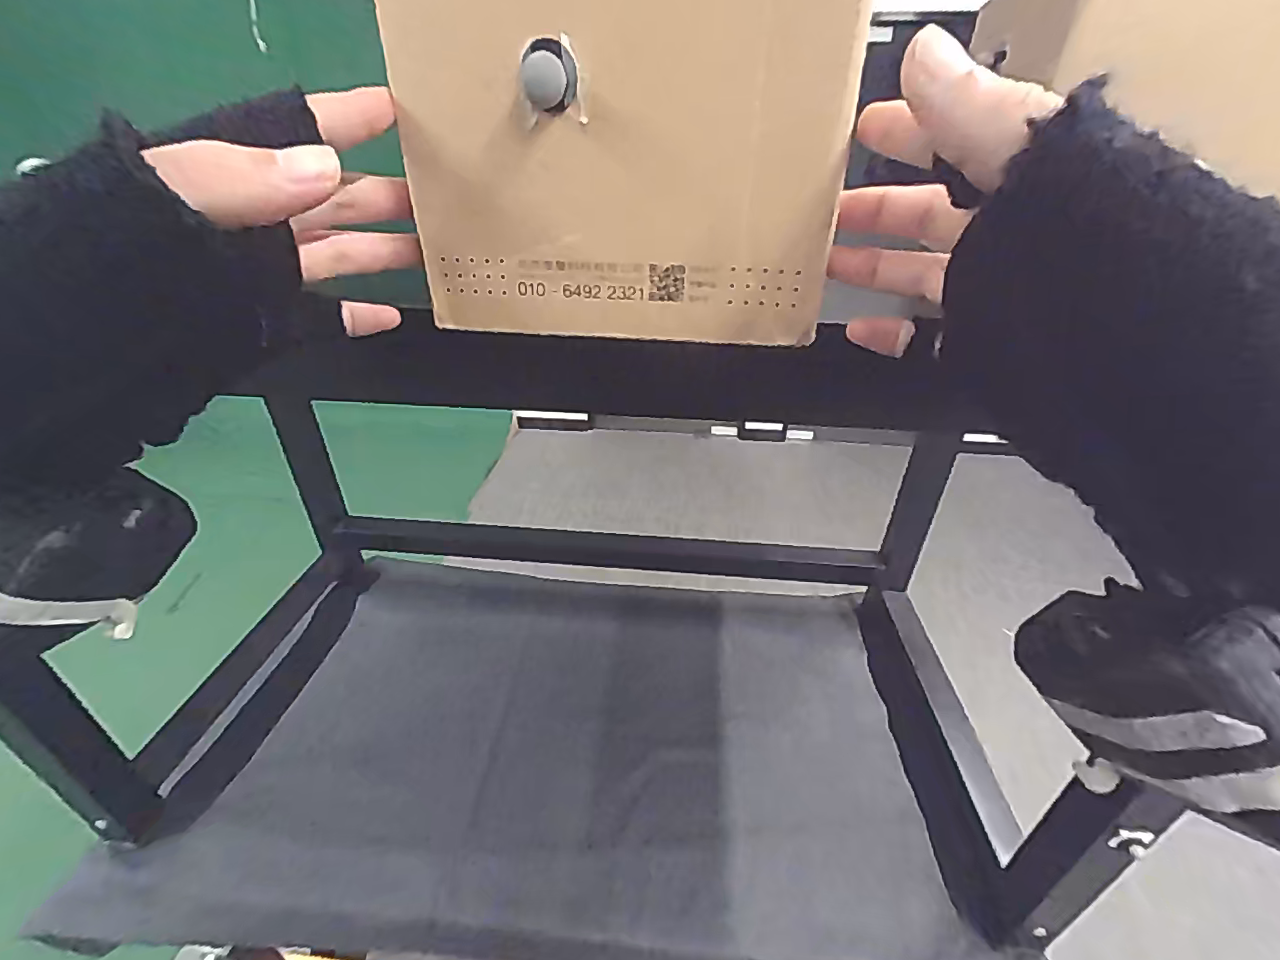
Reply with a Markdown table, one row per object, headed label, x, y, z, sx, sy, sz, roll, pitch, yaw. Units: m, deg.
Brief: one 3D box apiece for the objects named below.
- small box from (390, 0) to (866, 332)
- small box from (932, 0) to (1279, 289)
| label | x | y | z | sx | sy | sz | roll | pitch | yaw |
| --- | --- | --- | --- | --- | --- | --- | --- | --- | --- |
| small box | 0.004 | -0.176 | 0.260 | 0.168 | 0.176 | 0.179 | 4 | 31 | 6 |
| small box | 0.316 | -0.234 | 0.354 | 0.168 | 0.176 | 0.179 | 6 | 33 | 9 |
